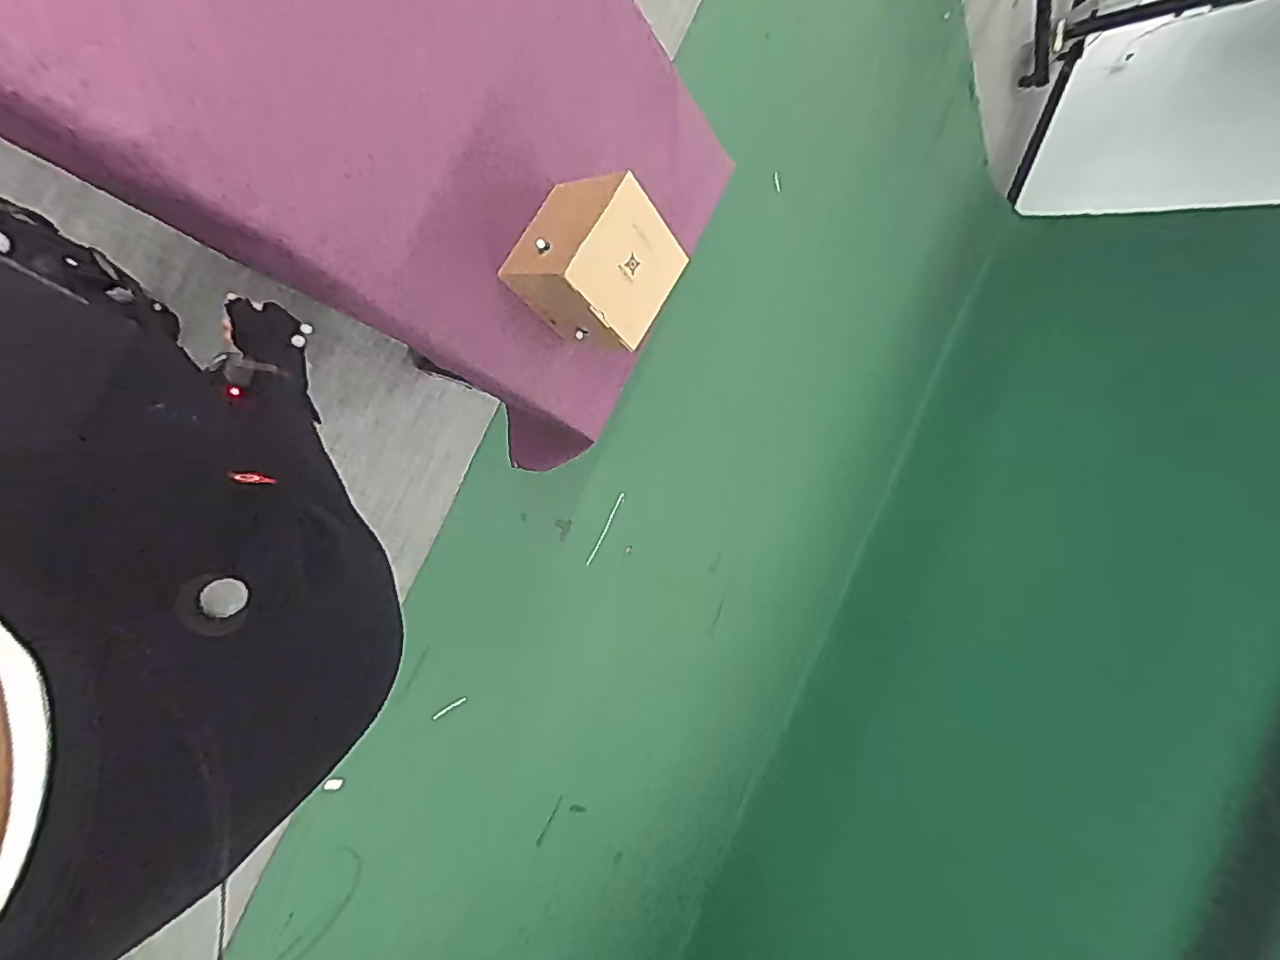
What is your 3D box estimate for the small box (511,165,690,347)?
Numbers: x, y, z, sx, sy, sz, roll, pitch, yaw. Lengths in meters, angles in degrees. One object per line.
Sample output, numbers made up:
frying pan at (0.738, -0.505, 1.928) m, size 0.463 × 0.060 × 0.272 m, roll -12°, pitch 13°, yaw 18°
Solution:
small box at (-0.063, -0.324, 0.801) m, size 0.168 × 0.176 × 0.179 m, roll 39°, pitch 77°, yaw -46°
